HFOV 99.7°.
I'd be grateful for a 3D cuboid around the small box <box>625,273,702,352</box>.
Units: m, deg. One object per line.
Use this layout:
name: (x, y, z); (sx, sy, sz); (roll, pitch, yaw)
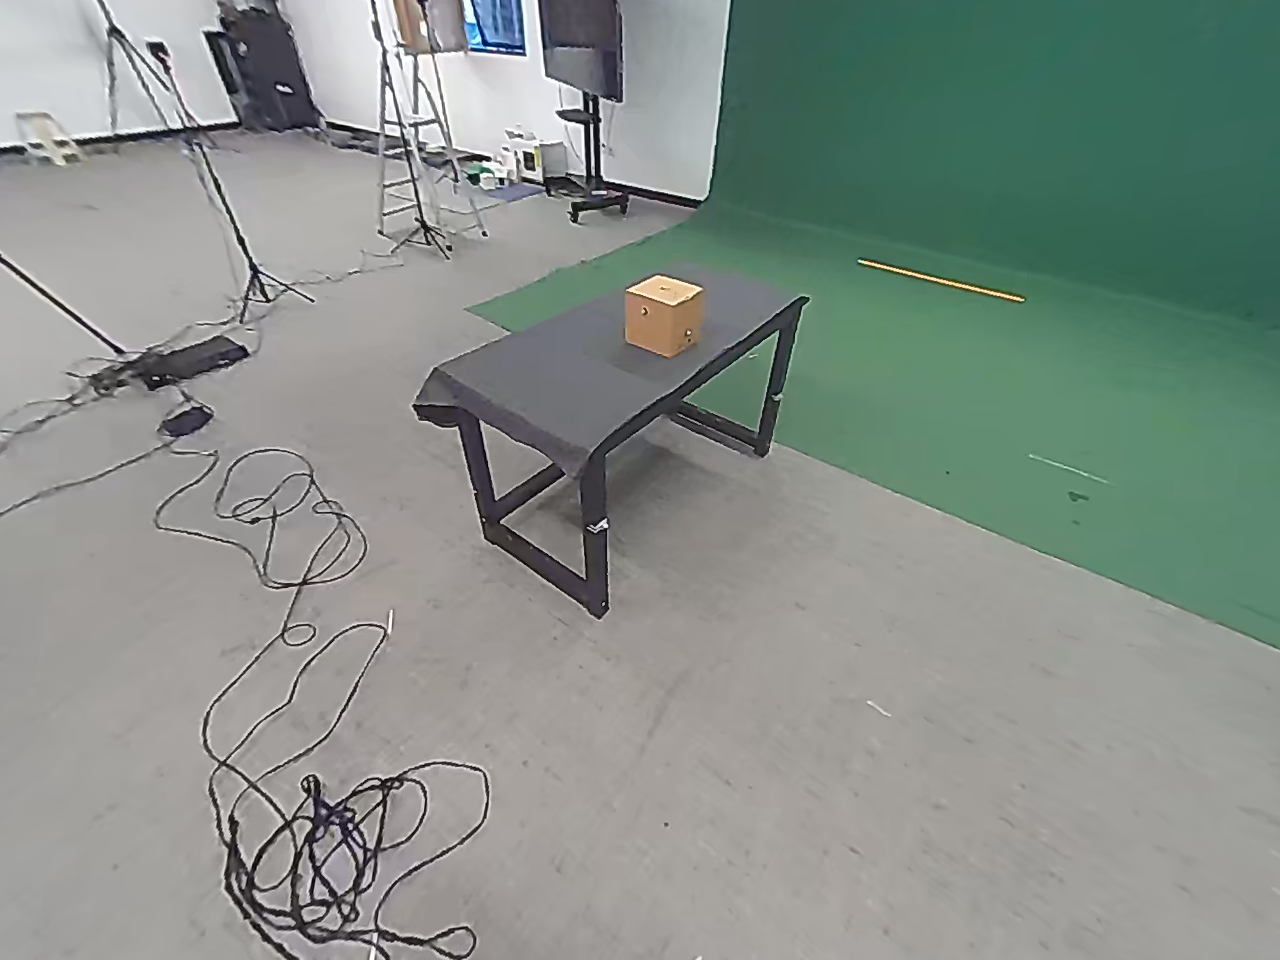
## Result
small box: (0.069, -0.513, 1.660); (0.179, 0.176, 0.168); (27, 47, 26)
